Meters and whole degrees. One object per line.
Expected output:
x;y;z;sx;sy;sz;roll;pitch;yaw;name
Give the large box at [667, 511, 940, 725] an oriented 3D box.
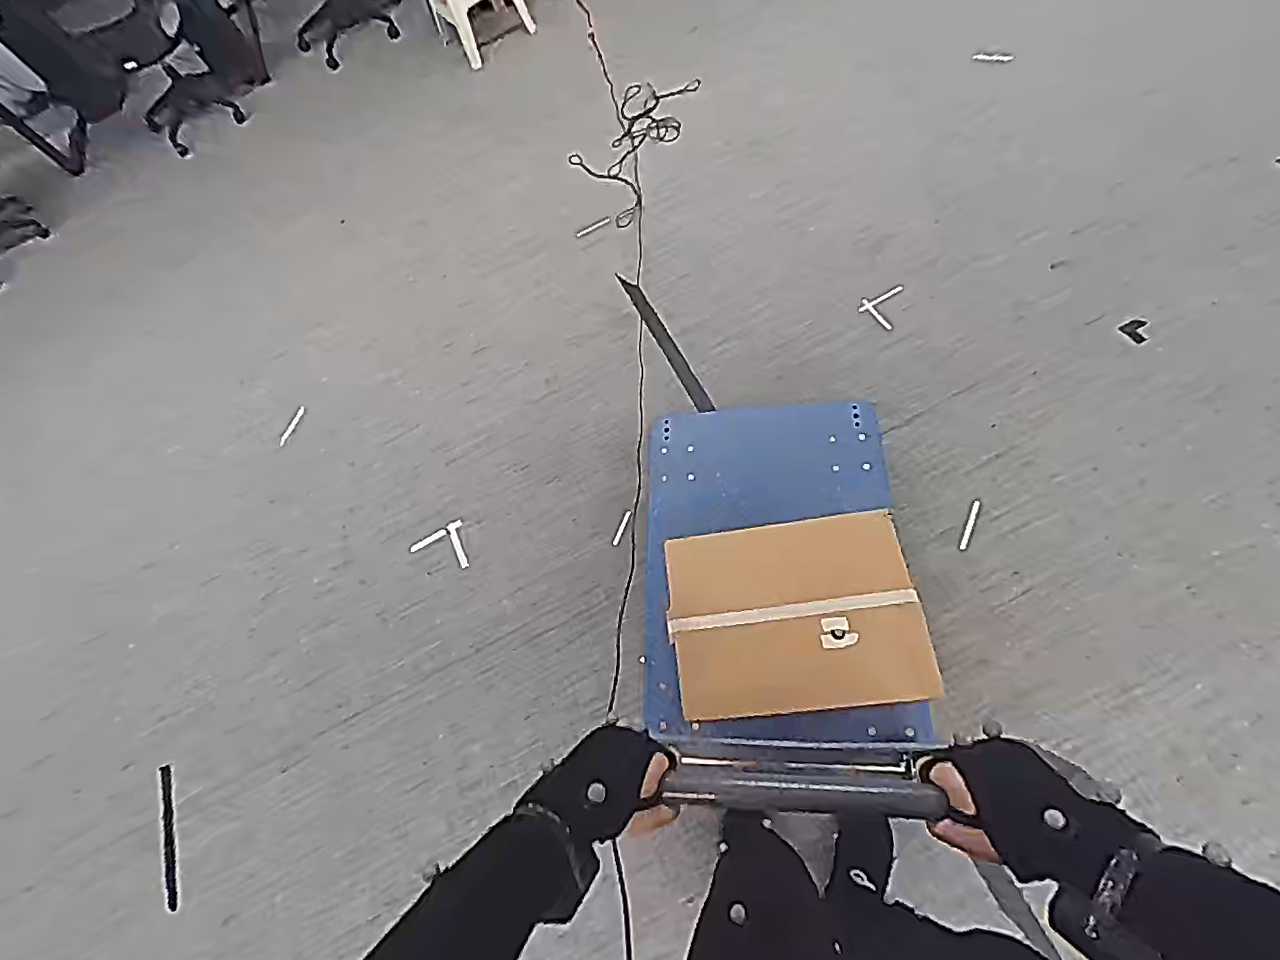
0.286;0.289;1.060;0.408;0.320;0.320;-10;65;7;large box
